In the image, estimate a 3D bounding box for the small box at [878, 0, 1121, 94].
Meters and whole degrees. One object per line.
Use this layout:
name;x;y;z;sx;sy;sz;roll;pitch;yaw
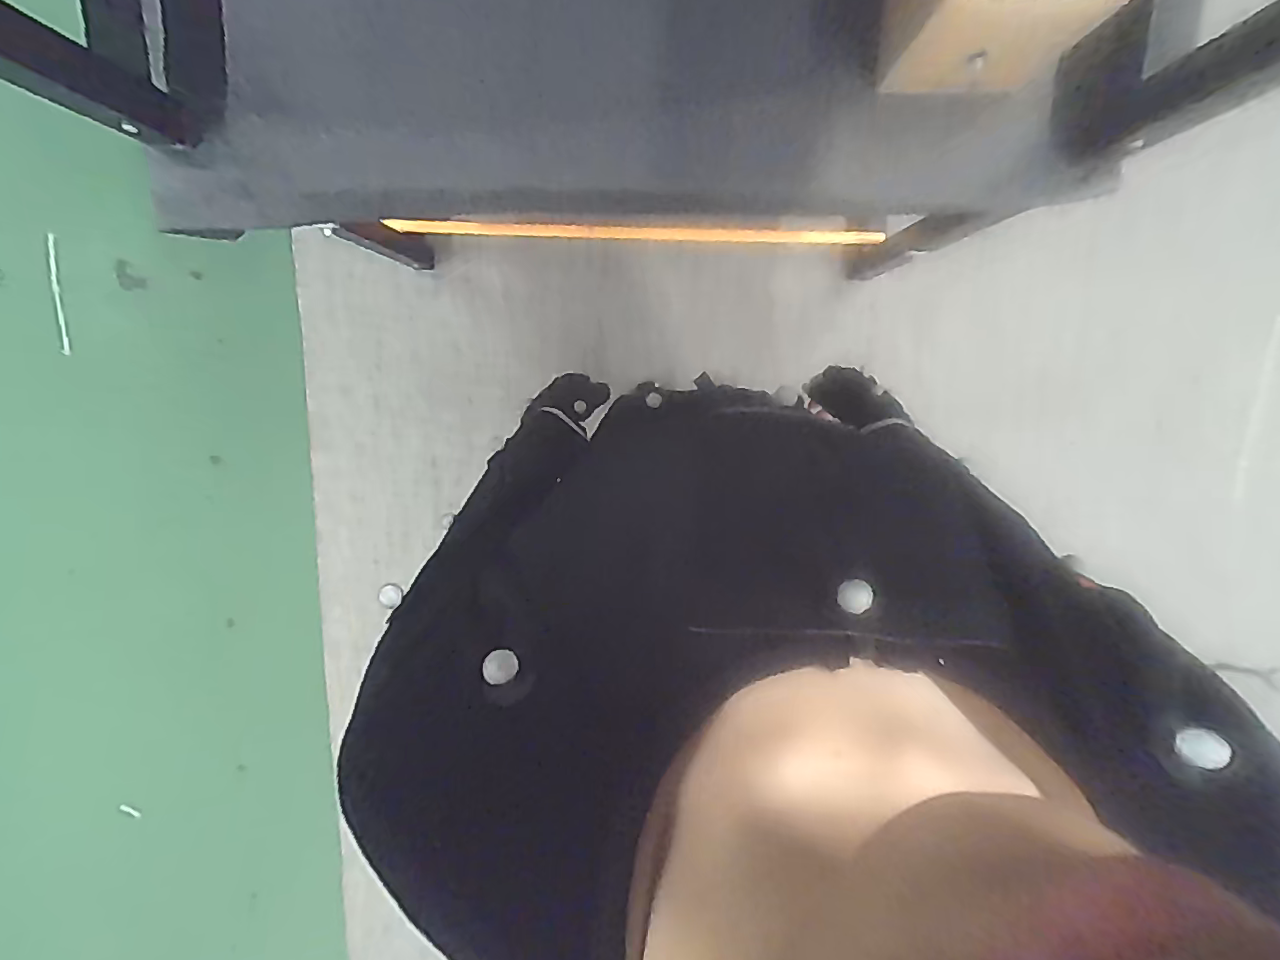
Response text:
small box;0.361;-0.530;0.554;0.168;0.176;0.179;2;100;1
